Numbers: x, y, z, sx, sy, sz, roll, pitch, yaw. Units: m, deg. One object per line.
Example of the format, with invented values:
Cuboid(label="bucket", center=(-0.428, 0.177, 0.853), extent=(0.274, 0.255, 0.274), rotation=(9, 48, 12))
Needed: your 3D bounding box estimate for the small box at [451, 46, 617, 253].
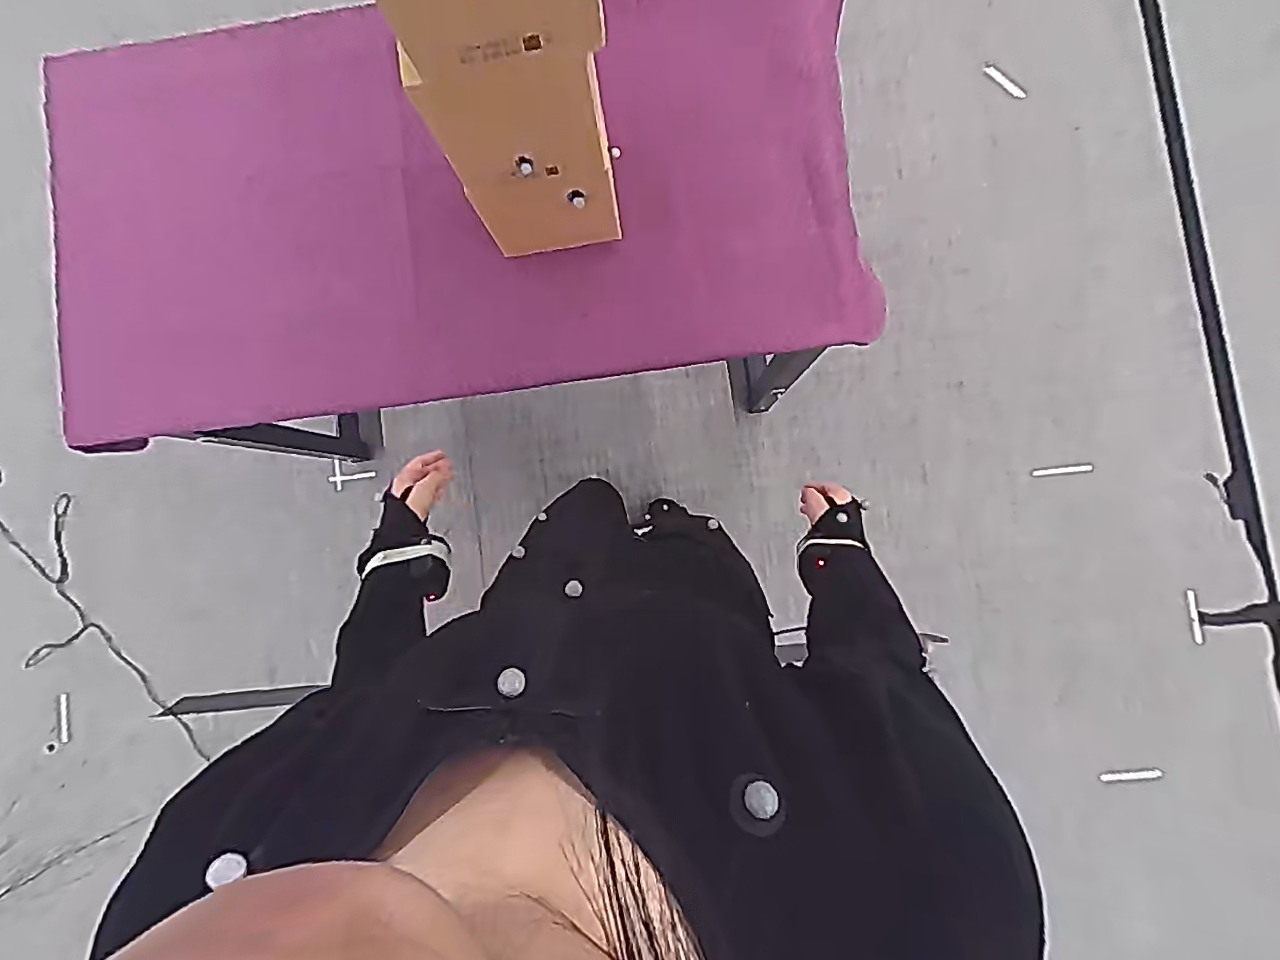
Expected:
Cuboid(label="small box", center=(-0.127, -0.427, 0.718), extent=(0.179, 0.176, 0.168), rotation=(-8, 86, 3))

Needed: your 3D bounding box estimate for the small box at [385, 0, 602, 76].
Cuboid(label="small box", center=(-0.125, -0.448, 0.391), extent=(0.168, 0.176, 0.179), rotation=(-8, 86, 3))
